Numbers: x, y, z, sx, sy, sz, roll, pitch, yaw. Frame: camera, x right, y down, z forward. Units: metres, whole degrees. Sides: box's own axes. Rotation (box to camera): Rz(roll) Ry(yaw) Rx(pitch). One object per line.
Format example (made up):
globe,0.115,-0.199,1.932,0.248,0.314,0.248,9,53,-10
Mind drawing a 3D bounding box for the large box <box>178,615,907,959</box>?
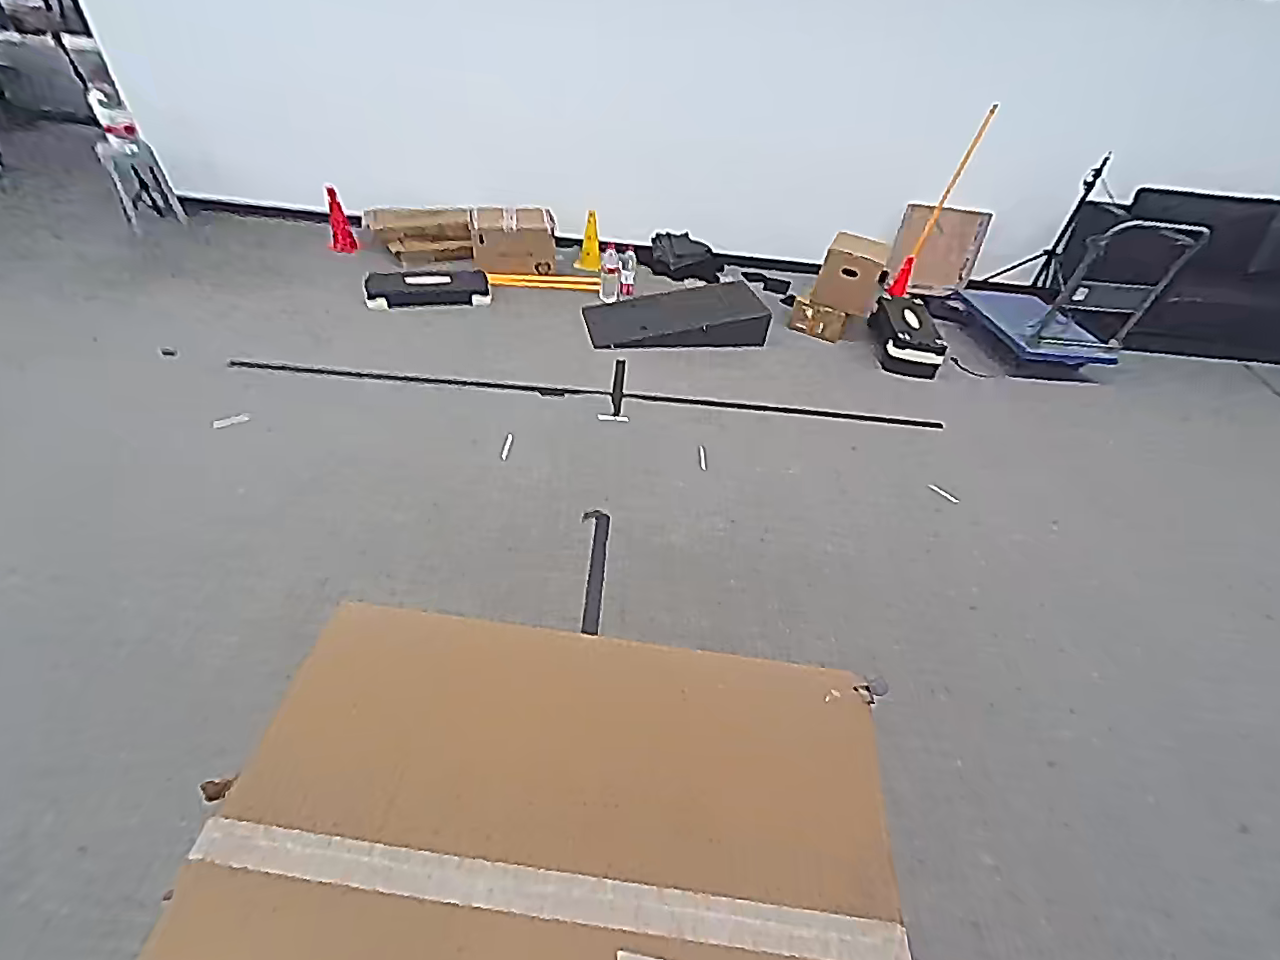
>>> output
large box,-0.054,0.339,0.429,0.408,0.320,0.320,7,49,2
